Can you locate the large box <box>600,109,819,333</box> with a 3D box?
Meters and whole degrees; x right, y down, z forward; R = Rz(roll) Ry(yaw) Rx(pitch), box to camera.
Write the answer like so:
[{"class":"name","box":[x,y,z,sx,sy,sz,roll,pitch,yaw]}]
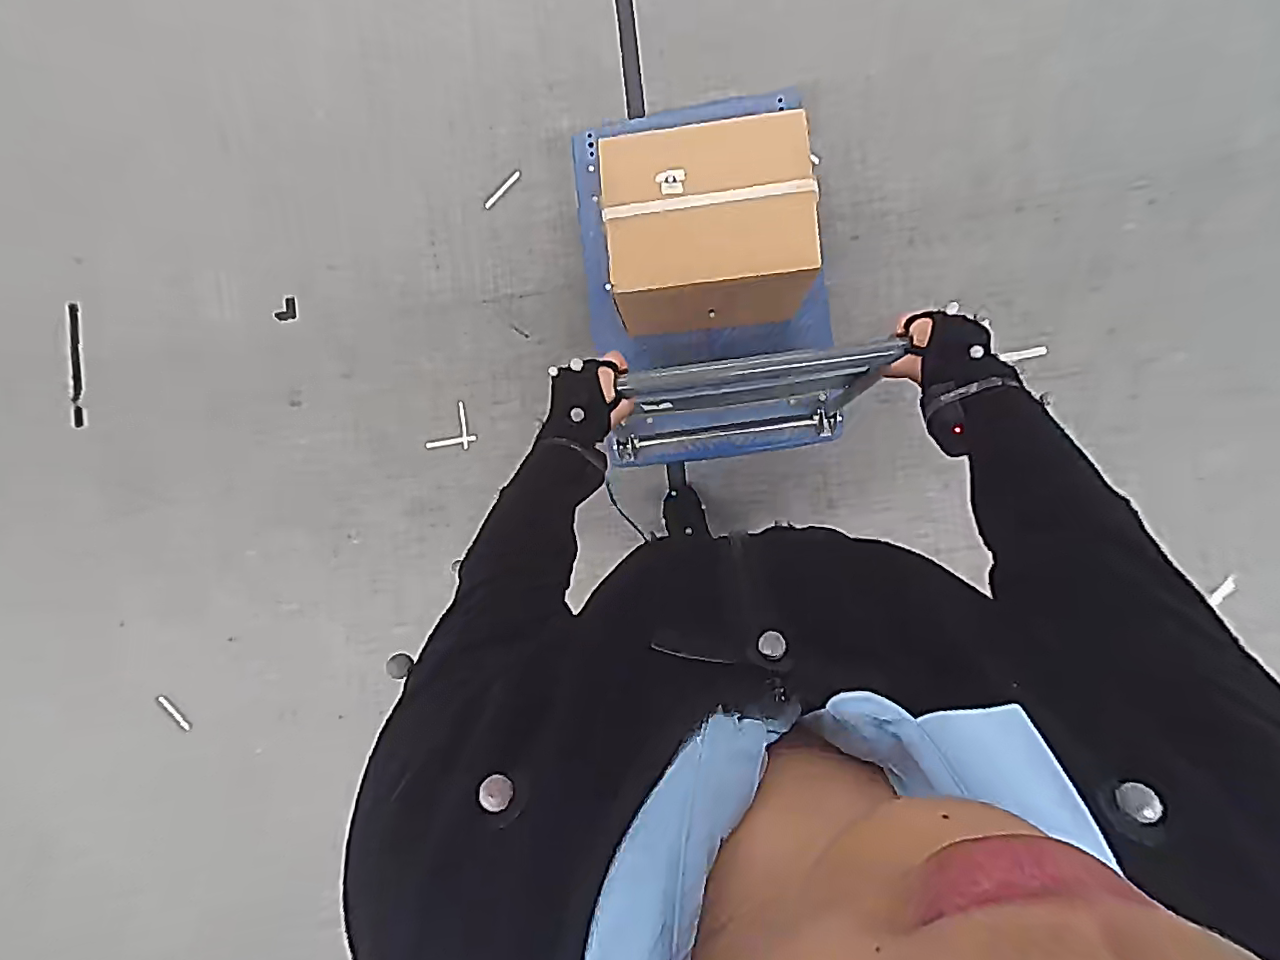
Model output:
[{"class":"large box","box":[0.148,-0.541,1.203,0.408,0.320,0.320,-6,87,6]}]
